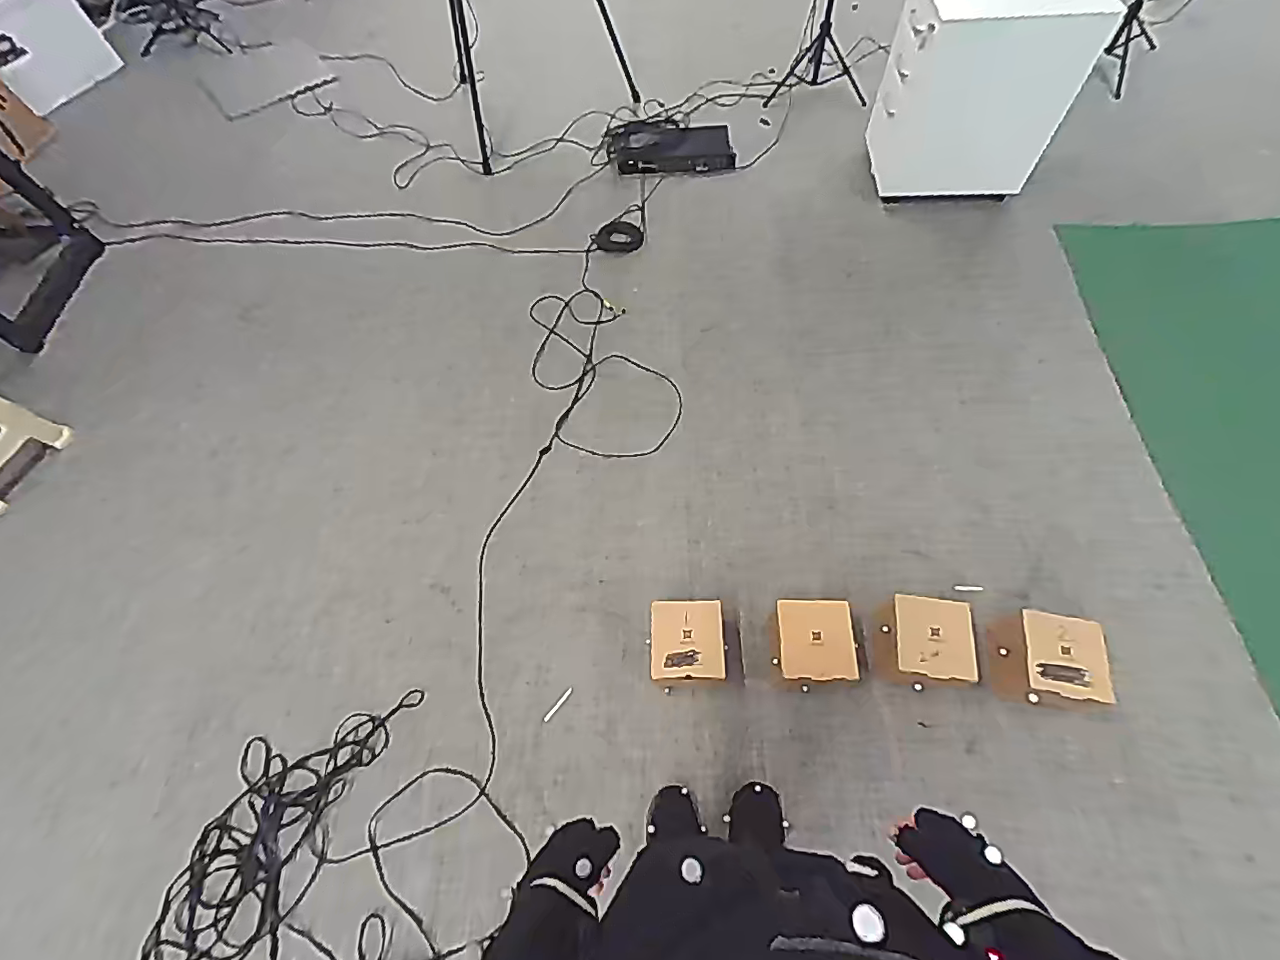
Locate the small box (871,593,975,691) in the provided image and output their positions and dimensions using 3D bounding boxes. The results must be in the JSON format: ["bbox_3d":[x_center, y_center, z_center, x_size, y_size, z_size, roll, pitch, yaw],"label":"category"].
[{"bbox_3d":[0.655,0.384,1.272,0.168,0.176,0.179,7,64,8],"label":"small box"}]

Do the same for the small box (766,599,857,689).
[{"bbox_3d":[0.398,0.393,1.286,0.168,0.176,0.179,0,63,4],"label":"small box"}]

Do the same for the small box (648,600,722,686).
[{"bbox_3d":[0.108,0.396,1.302,0.168,0.176,0.179,-1,61,3],"label":"small box"}]
